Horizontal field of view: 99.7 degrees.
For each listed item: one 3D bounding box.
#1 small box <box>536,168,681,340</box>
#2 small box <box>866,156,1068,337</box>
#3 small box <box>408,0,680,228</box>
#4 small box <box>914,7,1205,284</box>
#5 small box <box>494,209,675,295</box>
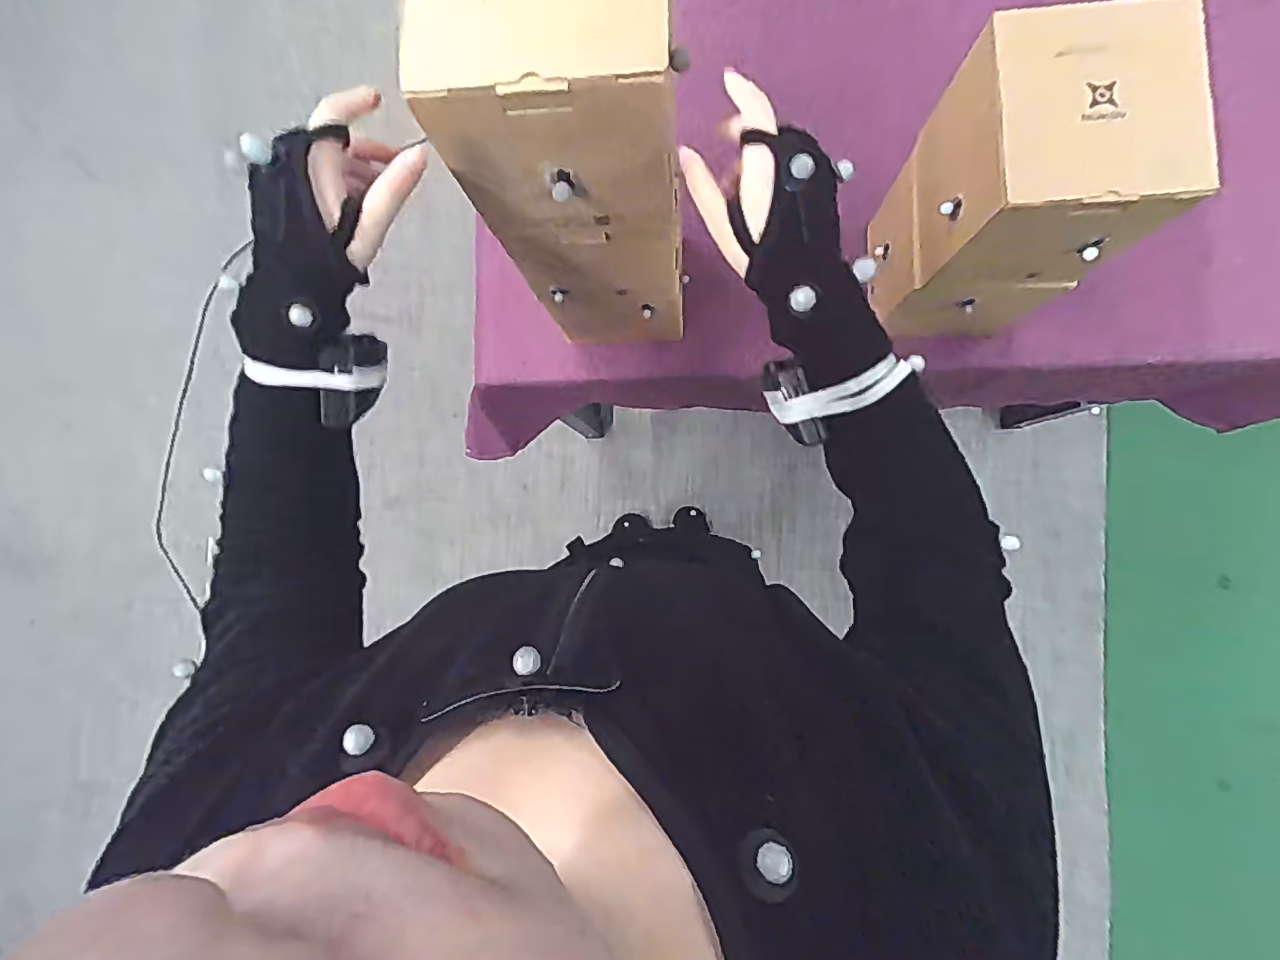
[{"bbox_3d":[-0.034,-0.296,0.739,0.179,0.176,0.168,0,86,4],"label":"small box"},{"bbox_3d":[0.404,-0.290,0.697,0.179,0.176,0.168,2,87,5],"label":"small box"},{"bbox_3d":[-0.054,-0.312,0.411,0.168,0.176,0.179,1,87,4],"label":"small box"},{"bbox_3d":[0.390,-0.307,0.535,0.168,0.176,0.179,0,86,4],"label":"small box"},{"bbox_3d":[-0.046,-0.308,0.575,0.168,0.176,0.179,0,85,4],"label":"small box"}]
